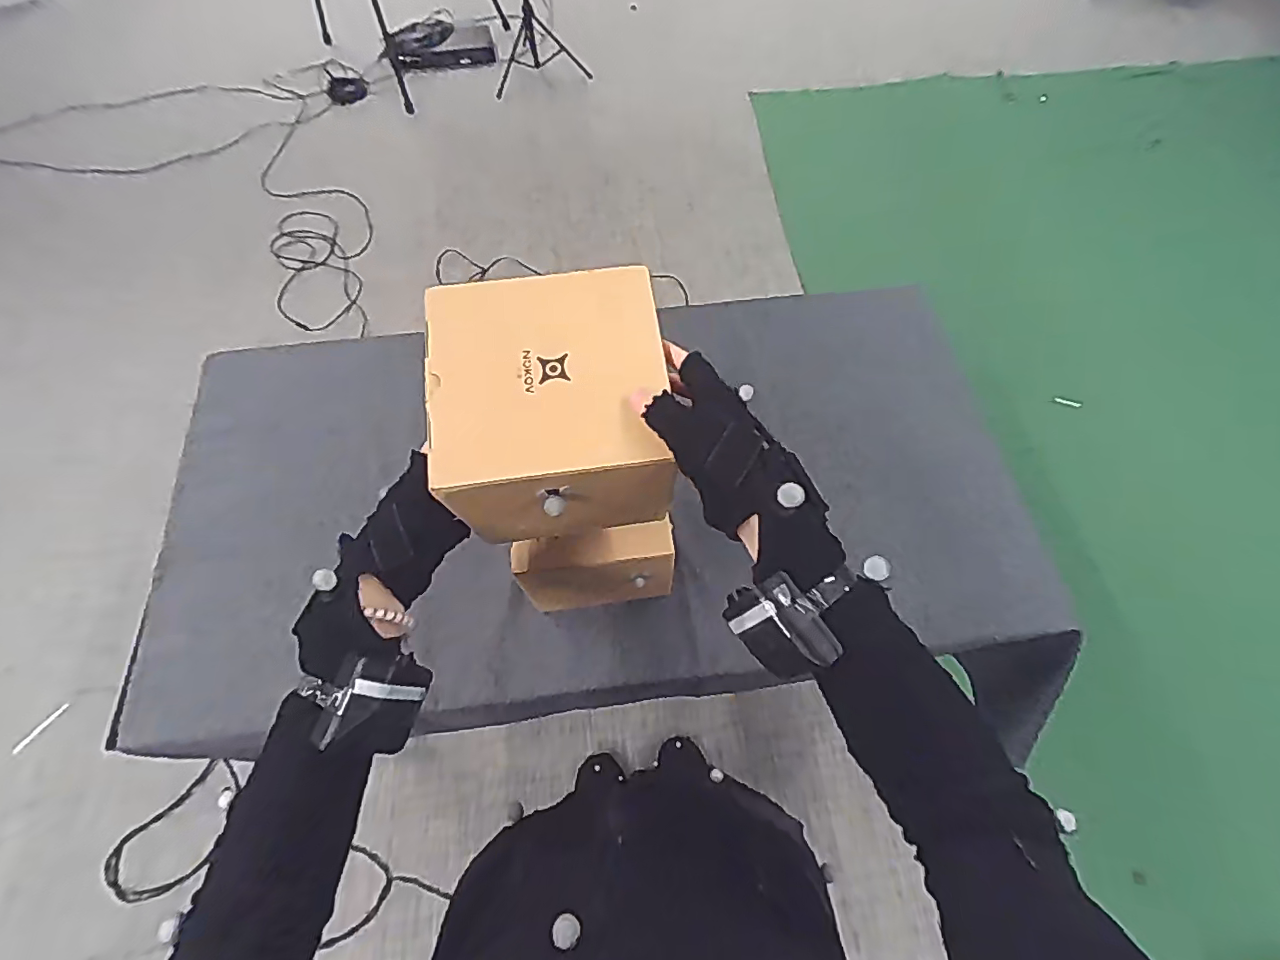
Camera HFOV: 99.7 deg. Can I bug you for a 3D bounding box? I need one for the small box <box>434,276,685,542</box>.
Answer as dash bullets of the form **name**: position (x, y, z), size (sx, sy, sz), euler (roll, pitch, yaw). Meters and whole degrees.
- **small box**: position (-0.066, -0.050, 0.477), size (0.179, 0.176, 0.168), euler (-8, 71, -3)
